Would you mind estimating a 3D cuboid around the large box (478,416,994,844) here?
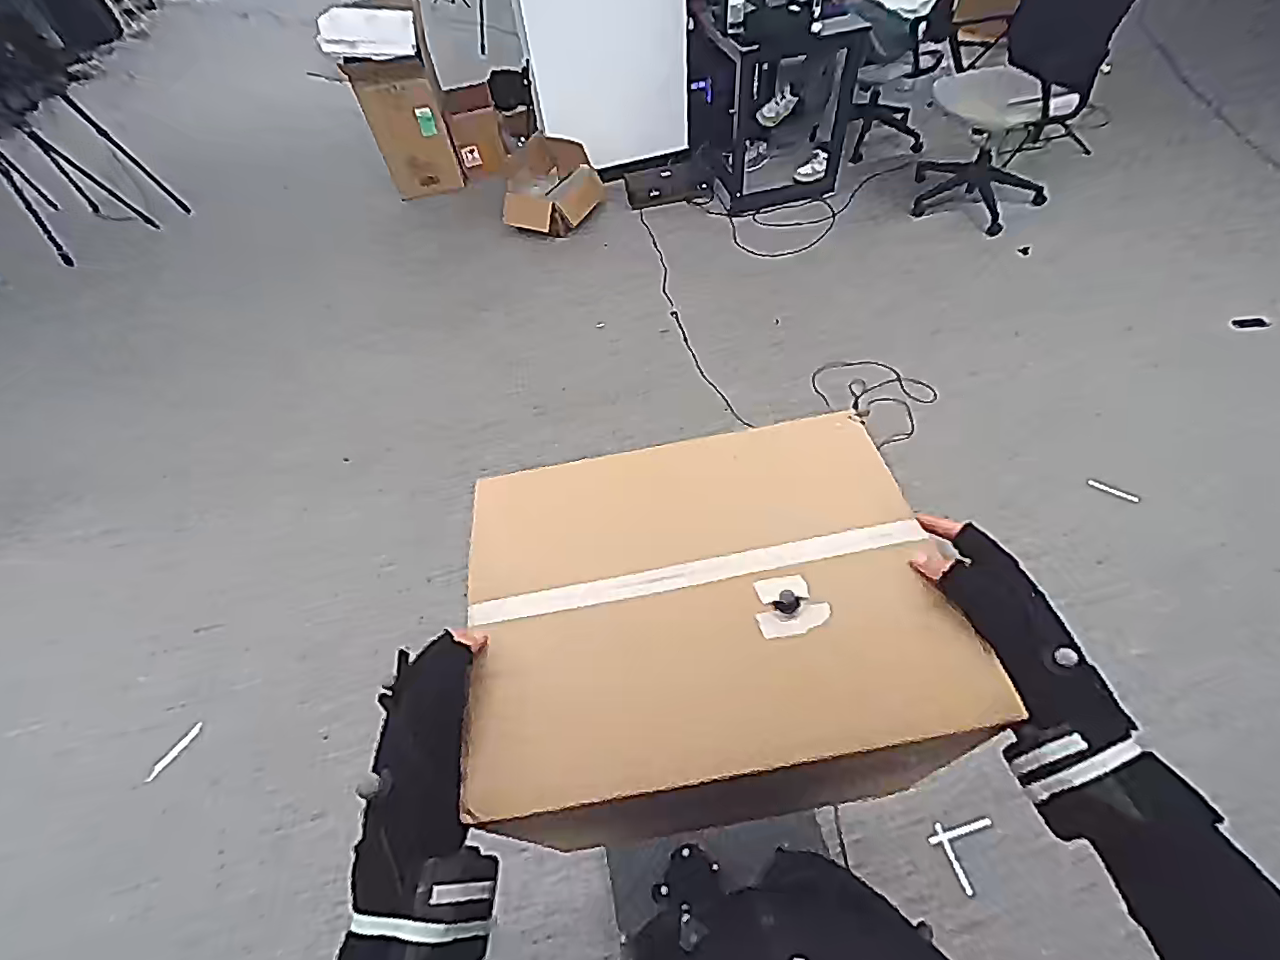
[{"bbox_3d":[0.065,0.177,0.607,0.408,0.320,0.320,-11,52,0],"label":"large box"}]
